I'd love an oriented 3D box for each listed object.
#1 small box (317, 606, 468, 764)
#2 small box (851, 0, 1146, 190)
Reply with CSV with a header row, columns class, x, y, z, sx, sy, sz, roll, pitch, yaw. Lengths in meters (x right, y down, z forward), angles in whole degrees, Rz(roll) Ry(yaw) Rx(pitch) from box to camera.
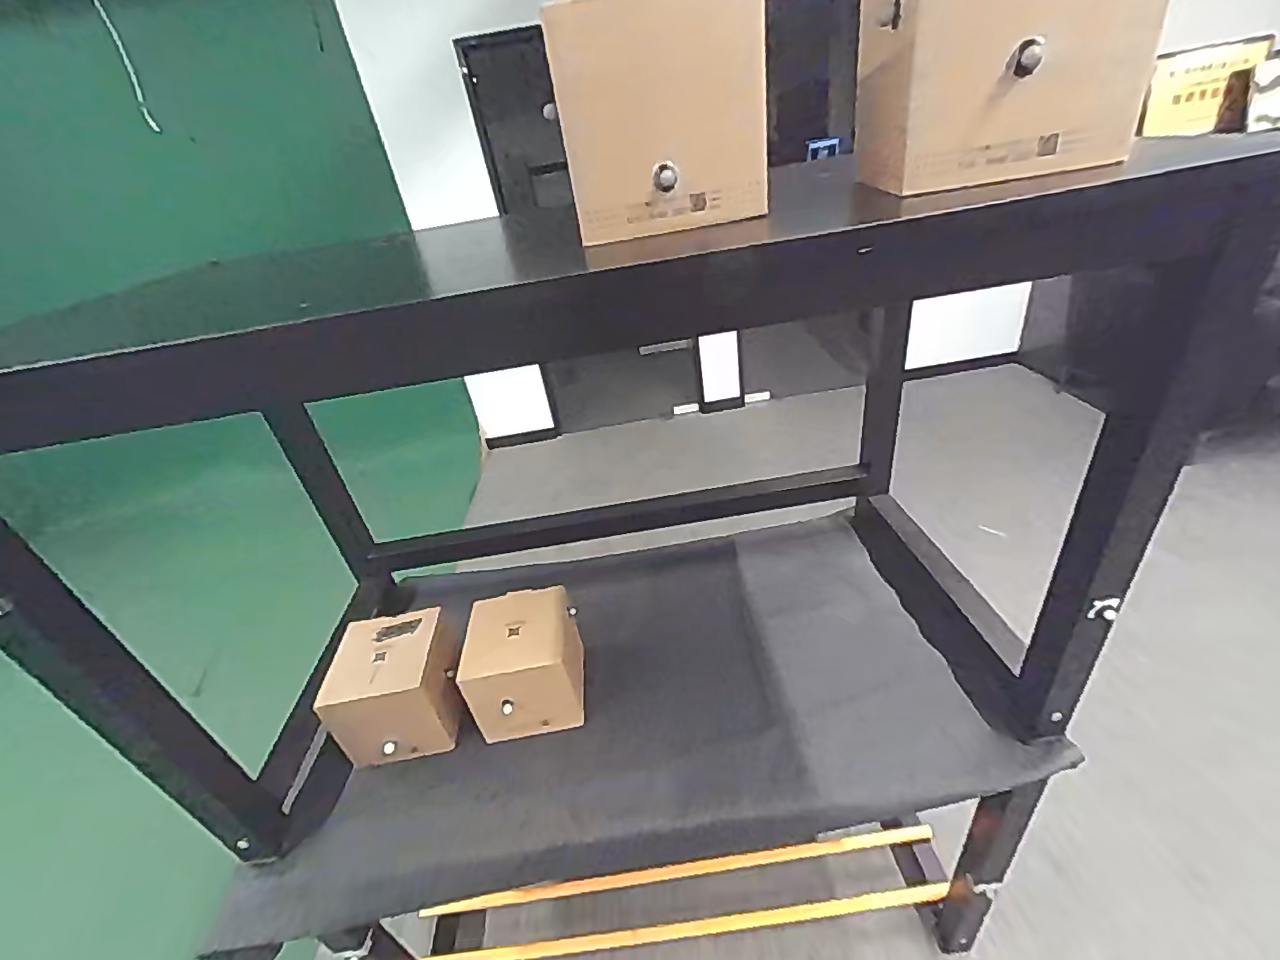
class,x,y,z,sx,sy,sz,roll,pitch,yaw
small box,-0.408,0.349,0.930,0.168,0.176,0.179,-11,32,-1
small box,0.281,-0.352,0.455,0.168,0.176,0.179,-4,32,10
